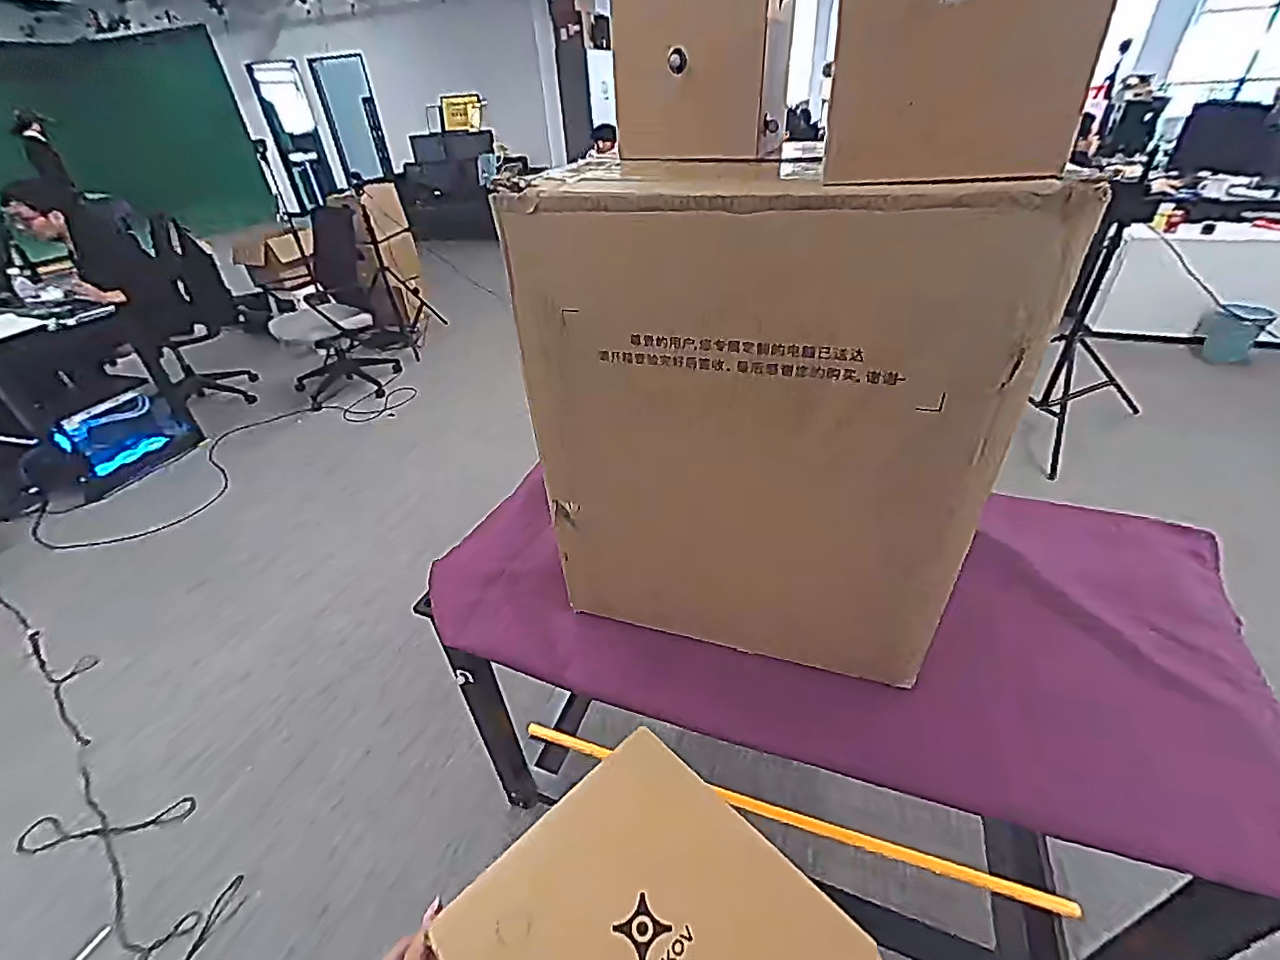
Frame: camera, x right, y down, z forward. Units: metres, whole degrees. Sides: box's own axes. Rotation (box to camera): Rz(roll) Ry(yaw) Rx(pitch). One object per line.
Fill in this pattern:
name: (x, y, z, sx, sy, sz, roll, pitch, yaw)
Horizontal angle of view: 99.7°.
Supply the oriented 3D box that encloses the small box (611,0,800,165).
small box: (0.083, -0.485, 0.646, 0.179, 0.176, 0.168, 11, 37, 22)
